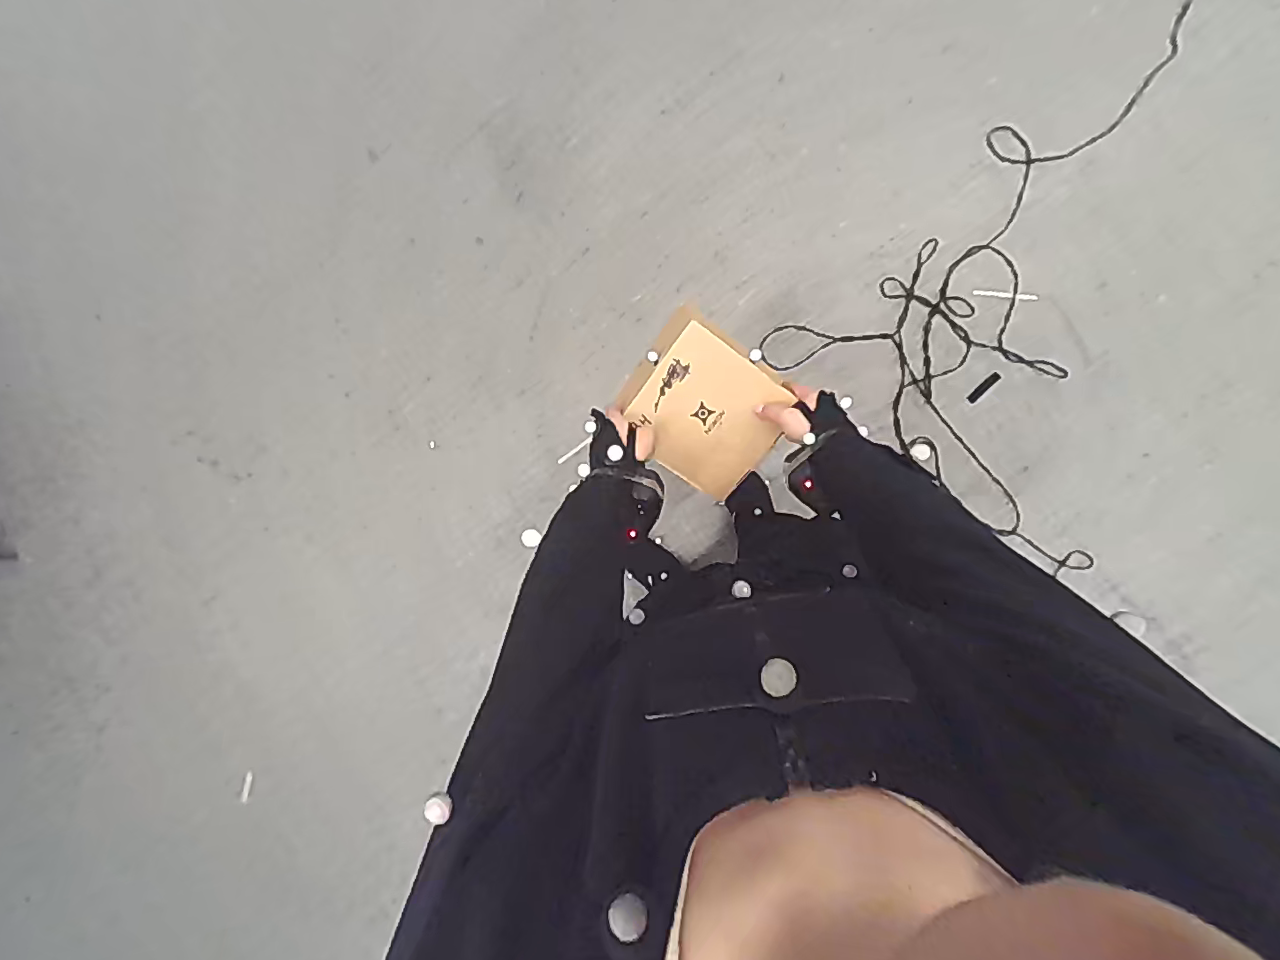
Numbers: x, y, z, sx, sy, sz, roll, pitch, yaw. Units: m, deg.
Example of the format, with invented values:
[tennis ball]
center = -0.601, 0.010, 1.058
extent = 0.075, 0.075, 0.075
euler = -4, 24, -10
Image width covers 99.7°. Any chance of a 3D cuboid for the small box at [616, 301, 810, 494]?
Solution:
[small box]
center = 0.088, -0.119, 0.720
extent = 0.179, 0.176, 0.168
euler = 33, 111, -13
